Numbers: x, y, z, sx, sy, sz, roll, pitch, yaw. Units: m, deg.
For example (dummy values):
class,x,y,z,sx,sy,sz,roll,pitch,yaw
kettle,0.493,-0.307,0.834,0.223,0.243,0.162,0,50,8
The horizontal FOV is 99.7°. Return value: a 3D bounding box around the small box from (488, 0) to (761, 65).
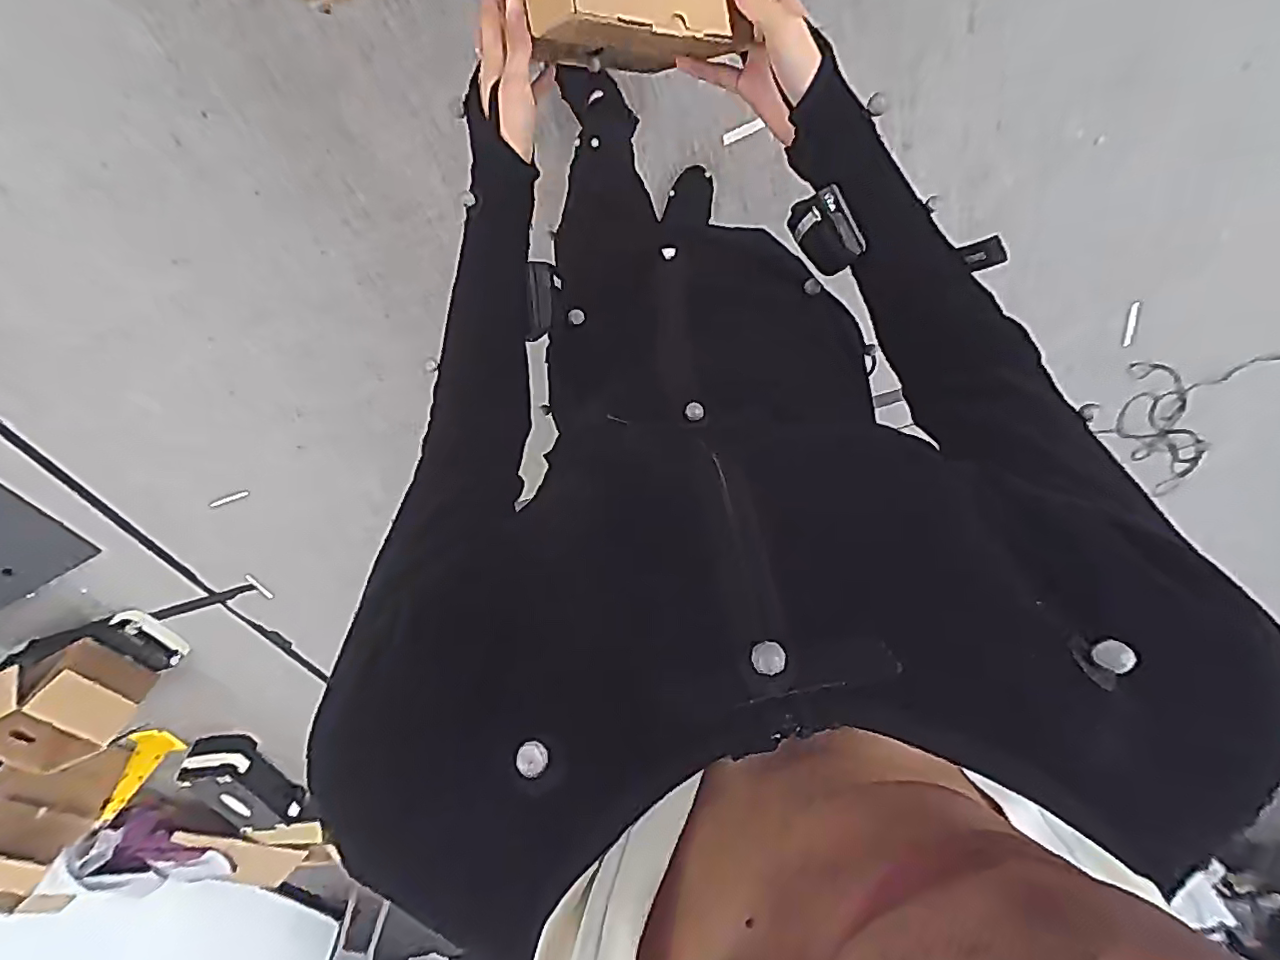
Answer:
class,x,y,z,sx,sy,sz,roll,pitch,yaw
small box,-0.018,-0.437,0.404,0.168,0.176,0.179,-16,124,-26
